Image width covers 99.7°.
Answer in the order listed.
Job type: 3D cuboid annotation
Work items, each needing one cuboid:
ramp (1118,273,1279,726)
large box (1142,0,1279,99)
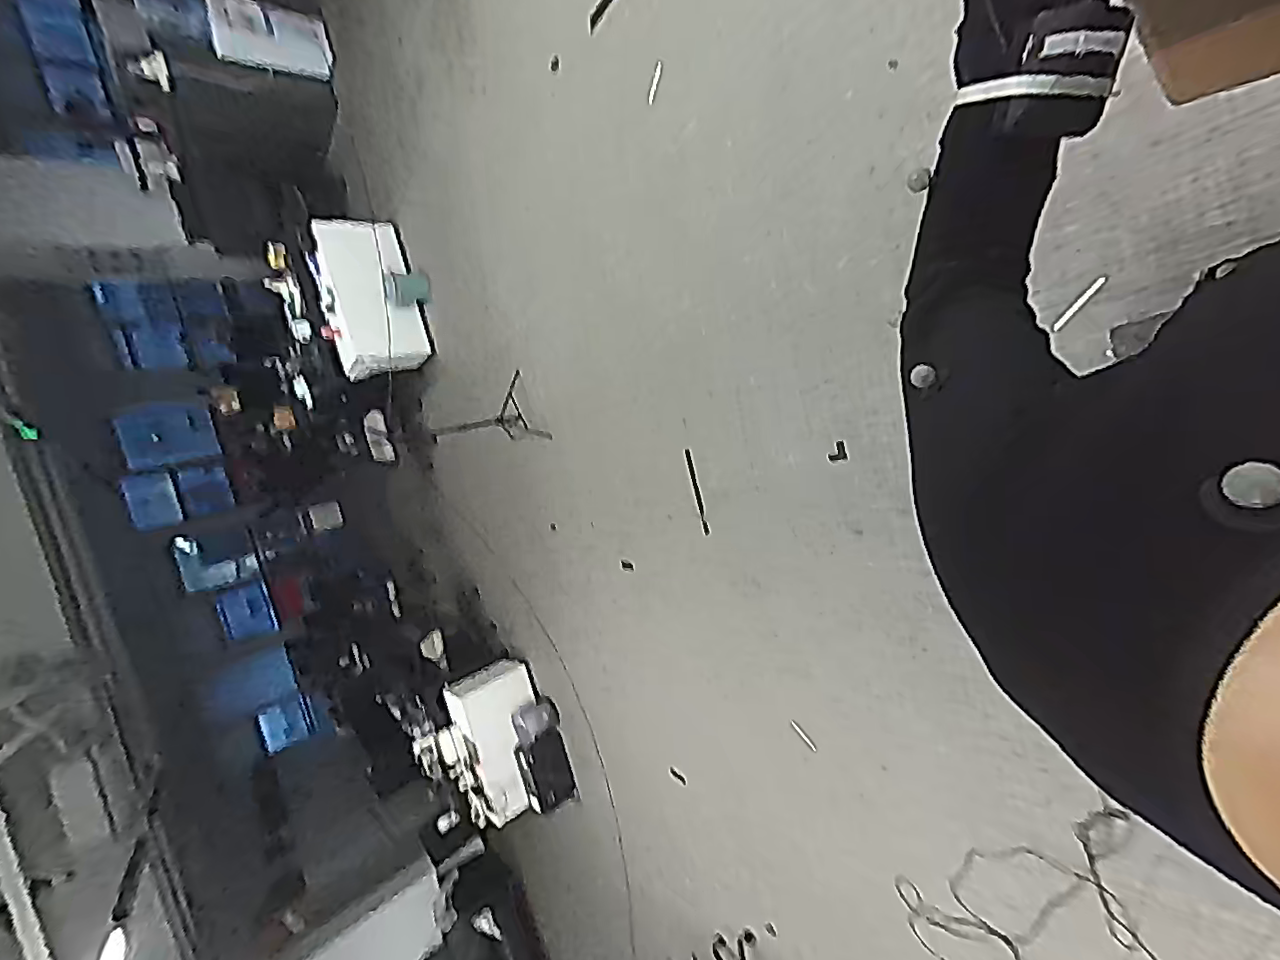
[{"bbox_3d":[1.341,0.079,1.008,0.509,0.206,0.991,-16,92,51],"label":"ramp"},{"bbox_3d":[0.497,-0.460,0.230,0.408,0.320,0.320,7,103,49],"label":"large box"}]
